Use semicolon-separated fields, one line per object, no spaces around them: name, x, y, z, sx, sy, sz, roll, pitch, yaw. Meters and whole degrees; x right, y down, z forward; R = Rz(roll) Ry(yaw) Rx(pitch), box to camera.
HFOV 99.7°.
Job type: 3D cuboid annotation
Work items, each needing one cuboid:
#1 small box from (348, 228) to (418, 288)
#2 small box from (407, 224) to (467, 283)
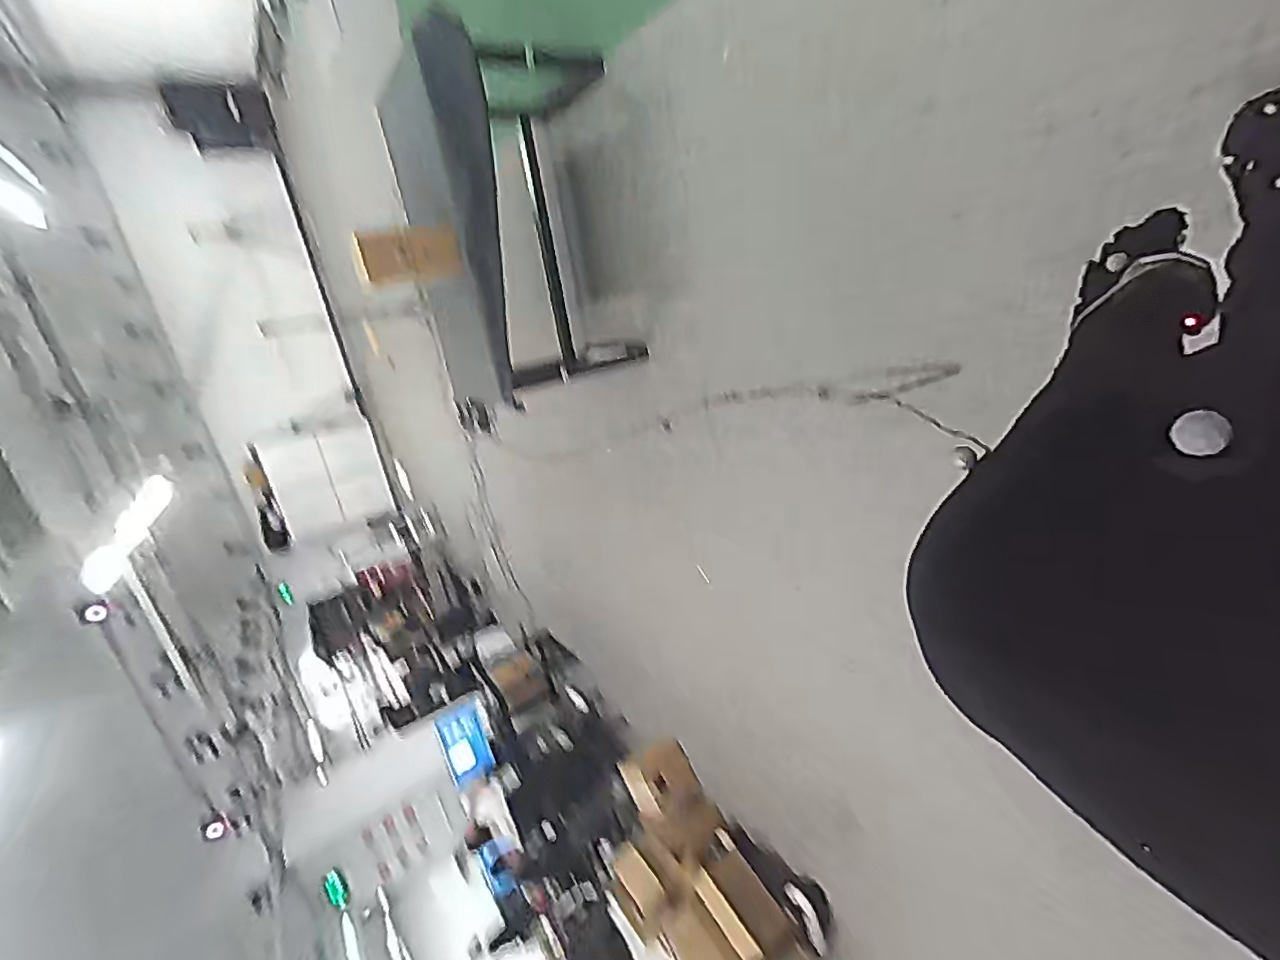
small box;-0.899;-0.779;1.901;0.179;0.176;0.168;15;122;53
small box;-0.751;-0.831;1.985;0.168;0.176;0.179;18;122;52
